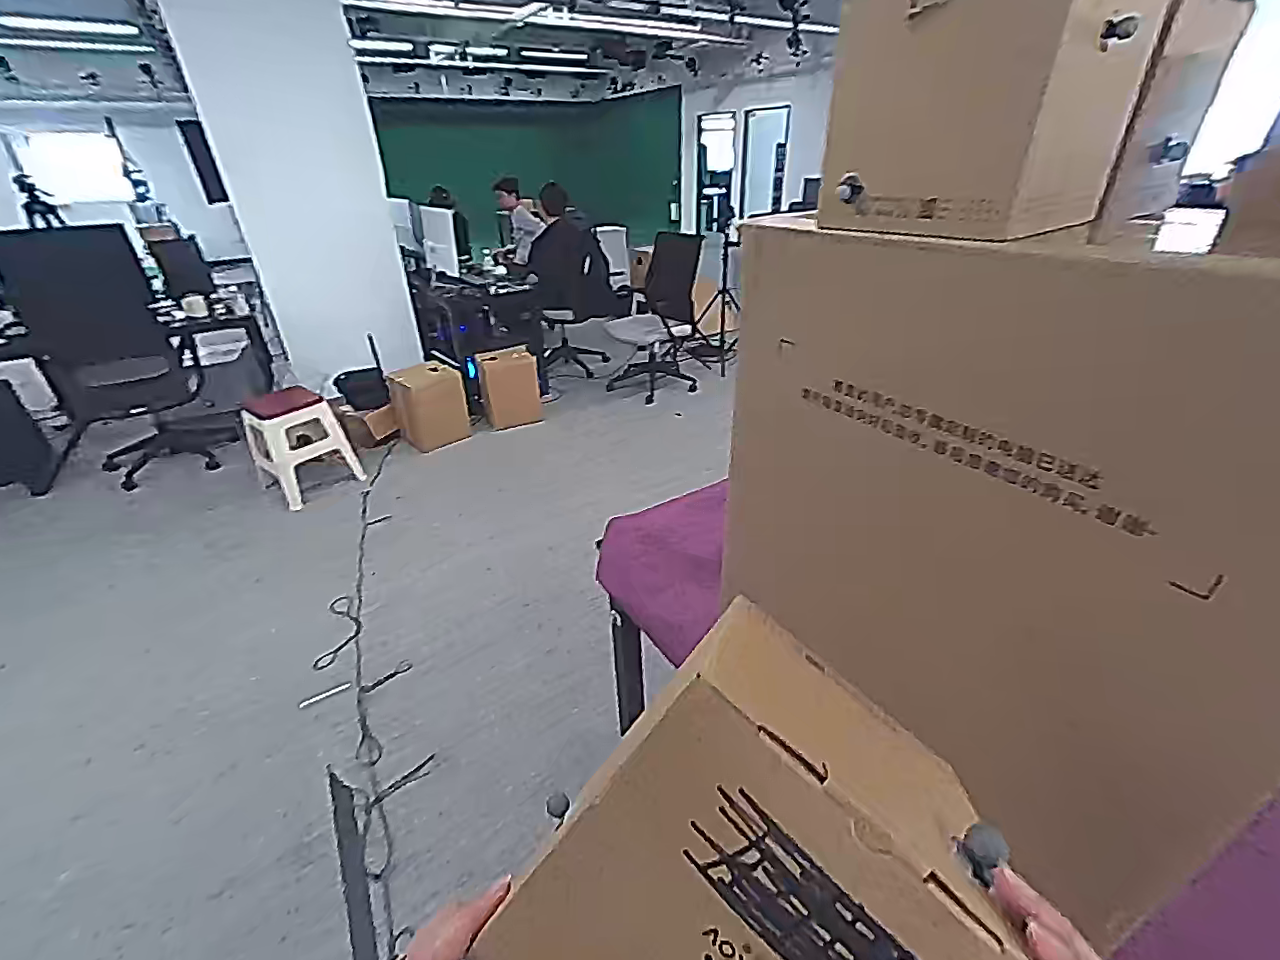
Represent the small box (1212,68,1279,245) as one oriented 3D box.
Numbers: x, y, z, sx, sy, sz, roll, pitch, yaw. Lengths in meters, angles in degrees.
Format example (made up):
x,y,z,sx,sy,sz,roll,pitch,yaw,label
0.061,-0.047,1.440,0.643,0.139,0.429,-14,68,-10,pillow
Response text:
x,y,z,sx,sy,sz,roll,pitch,yaw,label
0.569,-0.261,0.375,0.168,0.176,0.179,-23,34,-31,small box
